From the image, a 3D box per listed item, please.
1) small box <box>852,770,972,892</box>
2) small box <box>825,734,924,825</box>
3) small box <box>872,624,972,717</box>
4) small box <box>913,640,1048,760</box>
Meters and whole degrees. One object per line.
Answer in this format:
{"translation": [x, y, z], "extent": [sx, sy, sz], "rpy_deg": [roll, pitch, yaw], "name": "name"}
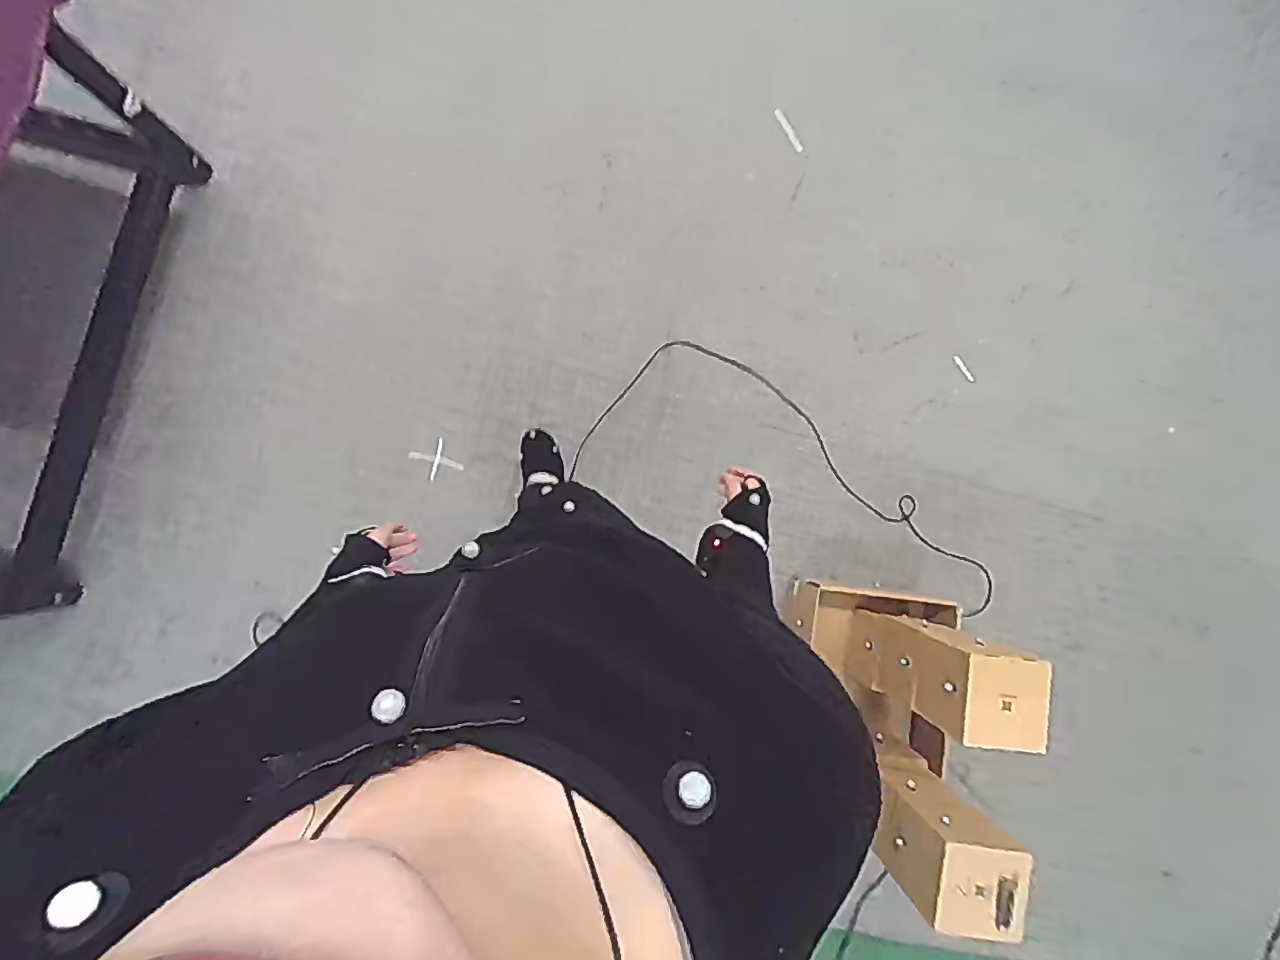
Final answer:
{"translation": [0.613, 0.792, 1.238], "extent": [0.179, 0.176, 0.168], "rpy_deg": [12, 86, -5], "name": "small box"}
{"translation": [0.601, 0.787, 1.403], "extent": [0.168, 0.176, 0.179], "rpy_deg": [12, 85, -5], "name": "small box"}
{"translation": [0.669, 0.448, 1.264], "extent": [0.168, 0.176, 0.179], "rpy_deg": [12, 87, -4], "name": "small box"}
{"translation": [0.683, 0.439, 1.103], "extent": [0.168, 0.176, 0.179], "rpy_deg": [7, 86, -3], "name": "small box"}
